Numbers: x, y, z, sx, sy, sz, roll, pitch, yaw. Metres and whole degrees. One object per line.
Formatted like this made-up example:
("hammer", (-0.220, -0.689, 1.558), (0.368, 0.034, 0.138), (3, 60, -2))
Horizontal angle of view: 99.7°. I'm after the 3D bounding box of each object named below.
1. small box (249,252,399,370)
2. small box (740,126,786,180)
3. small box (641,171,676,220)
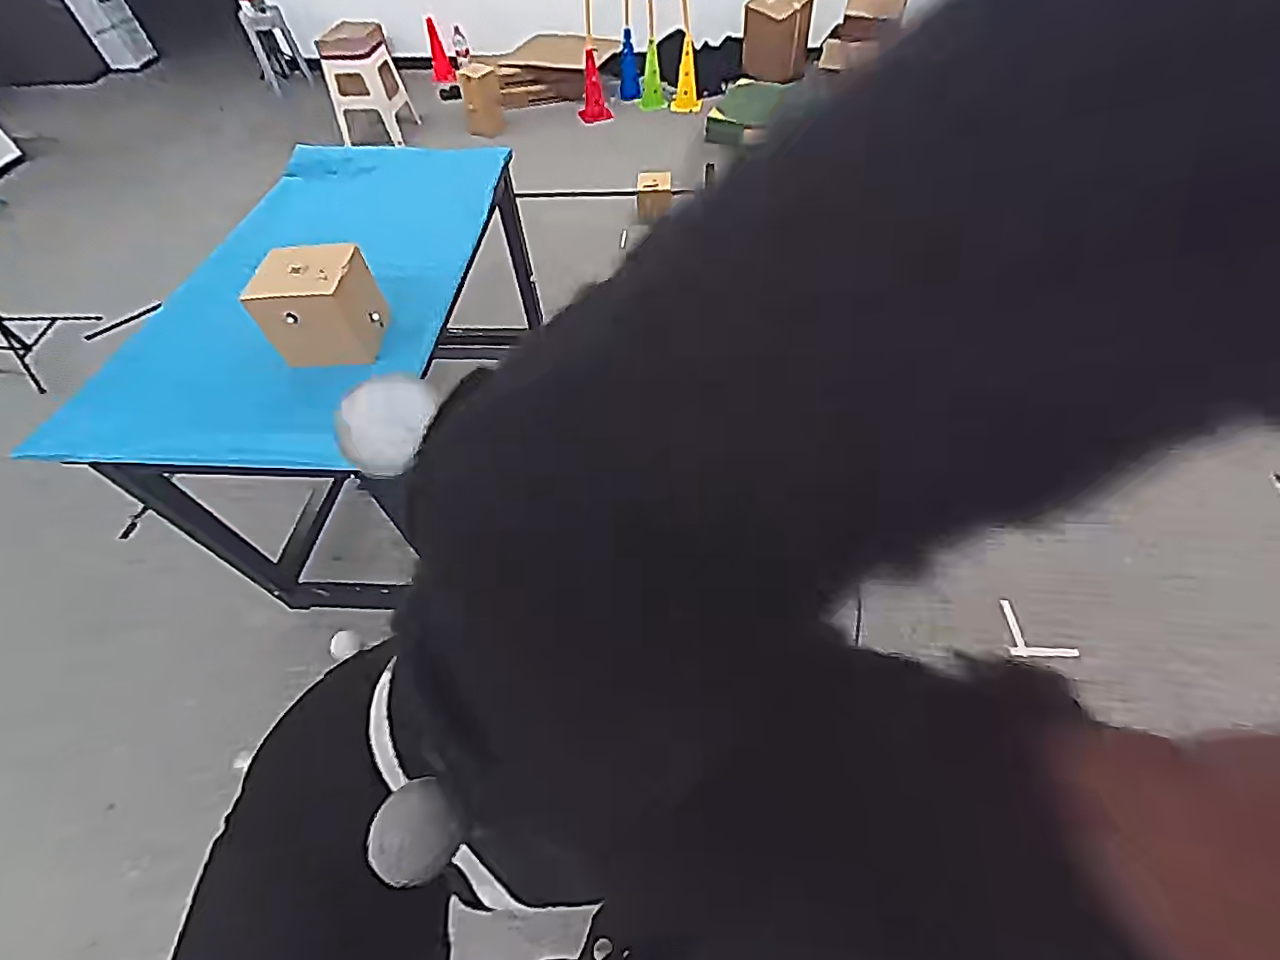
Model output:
("small box", (-0.622, -0.337, 1.091), (0.179, 0.176, 0.168), (1, 55, 2))
("small box", (0.582, -1.558, 2.580), (0.179, 0.176, 0.168), (14, 57, 12))
("small box", (0.097, -1.426, 2.716), (0.168, 0.176, 0.179), (0, 53, 4))
